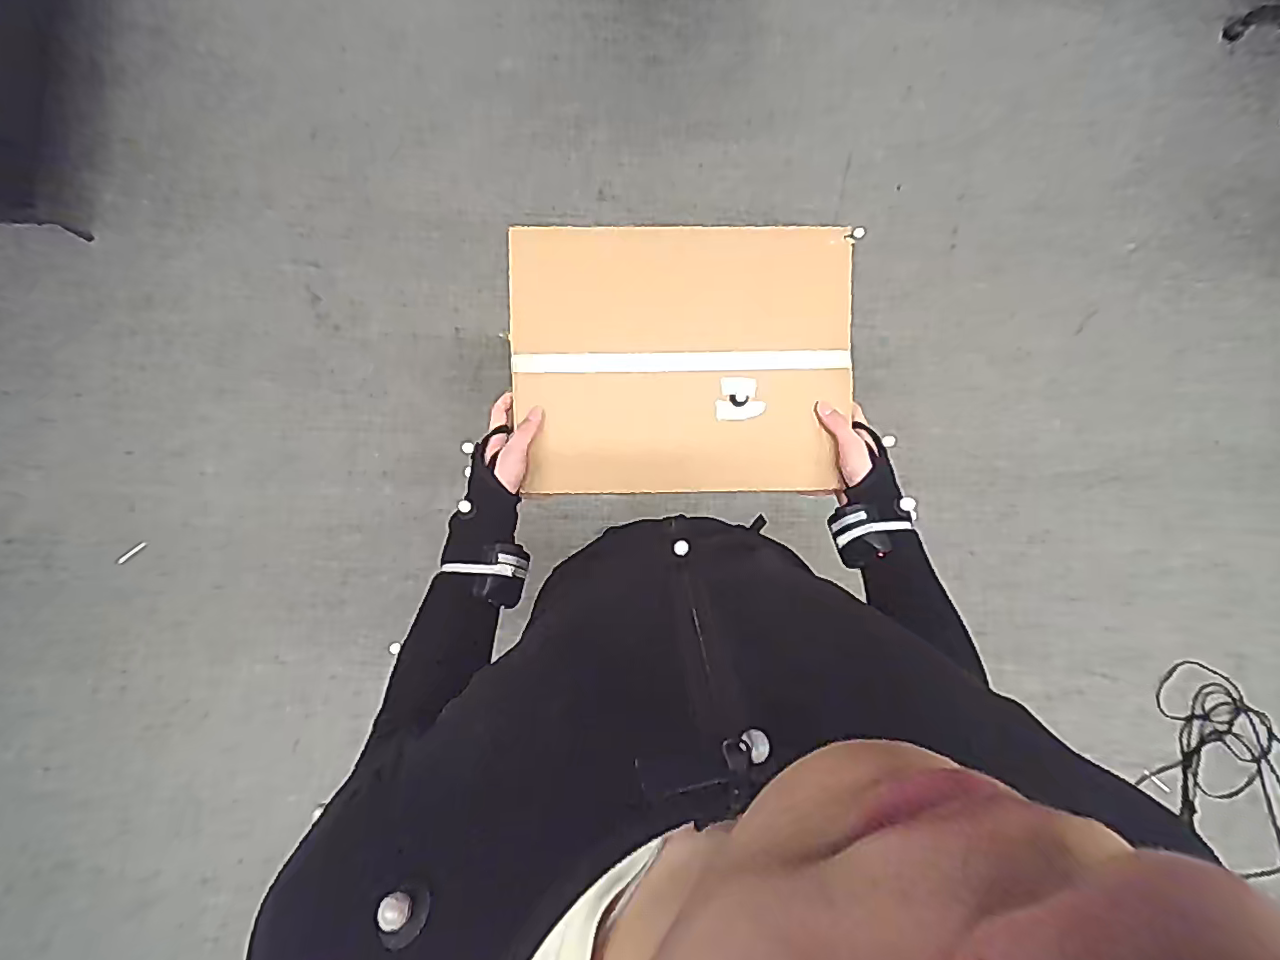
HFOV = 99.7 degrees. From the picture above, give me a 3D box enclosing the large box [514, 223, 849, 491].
[{"bbox_3d":[0.048,-0.157,0.798,0.408,0.320,0.320,-2,95,-2],"label":"large box"}]
